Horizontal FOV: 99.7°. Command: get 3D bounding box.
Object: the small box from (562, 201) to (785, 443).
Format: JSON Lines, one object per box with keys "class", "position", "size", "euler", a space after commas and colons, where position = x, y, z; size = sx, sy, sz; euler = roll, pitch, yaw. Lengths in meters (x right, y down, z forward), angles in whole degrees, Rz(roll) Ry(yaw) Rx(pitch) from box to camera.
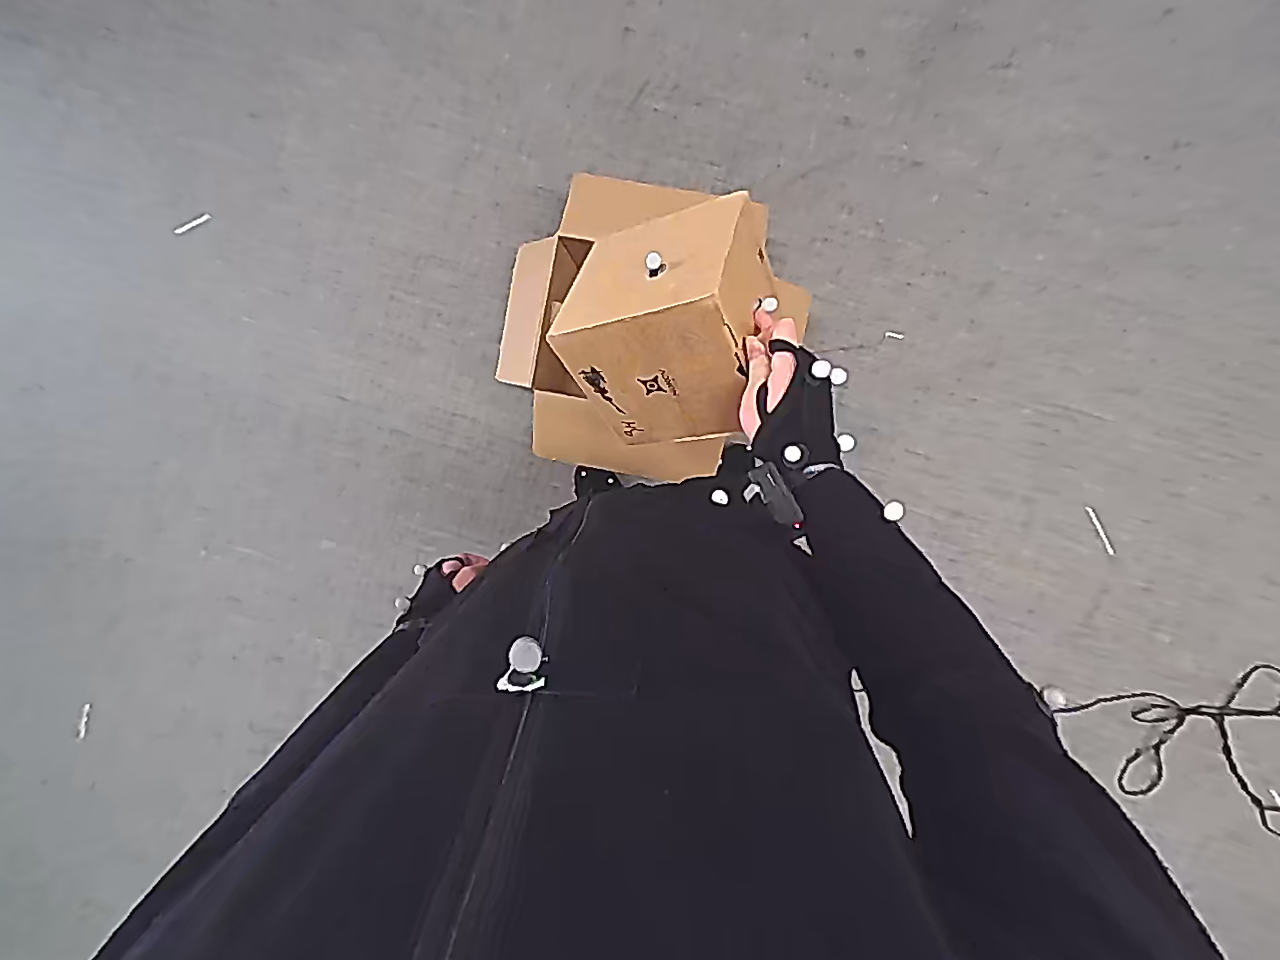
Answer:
{"class": "small box", "position": [0.050, -0.163, 0.576], "size": [0.179, 0.176, 0.168], "euler": [-4, 140, 29]}
